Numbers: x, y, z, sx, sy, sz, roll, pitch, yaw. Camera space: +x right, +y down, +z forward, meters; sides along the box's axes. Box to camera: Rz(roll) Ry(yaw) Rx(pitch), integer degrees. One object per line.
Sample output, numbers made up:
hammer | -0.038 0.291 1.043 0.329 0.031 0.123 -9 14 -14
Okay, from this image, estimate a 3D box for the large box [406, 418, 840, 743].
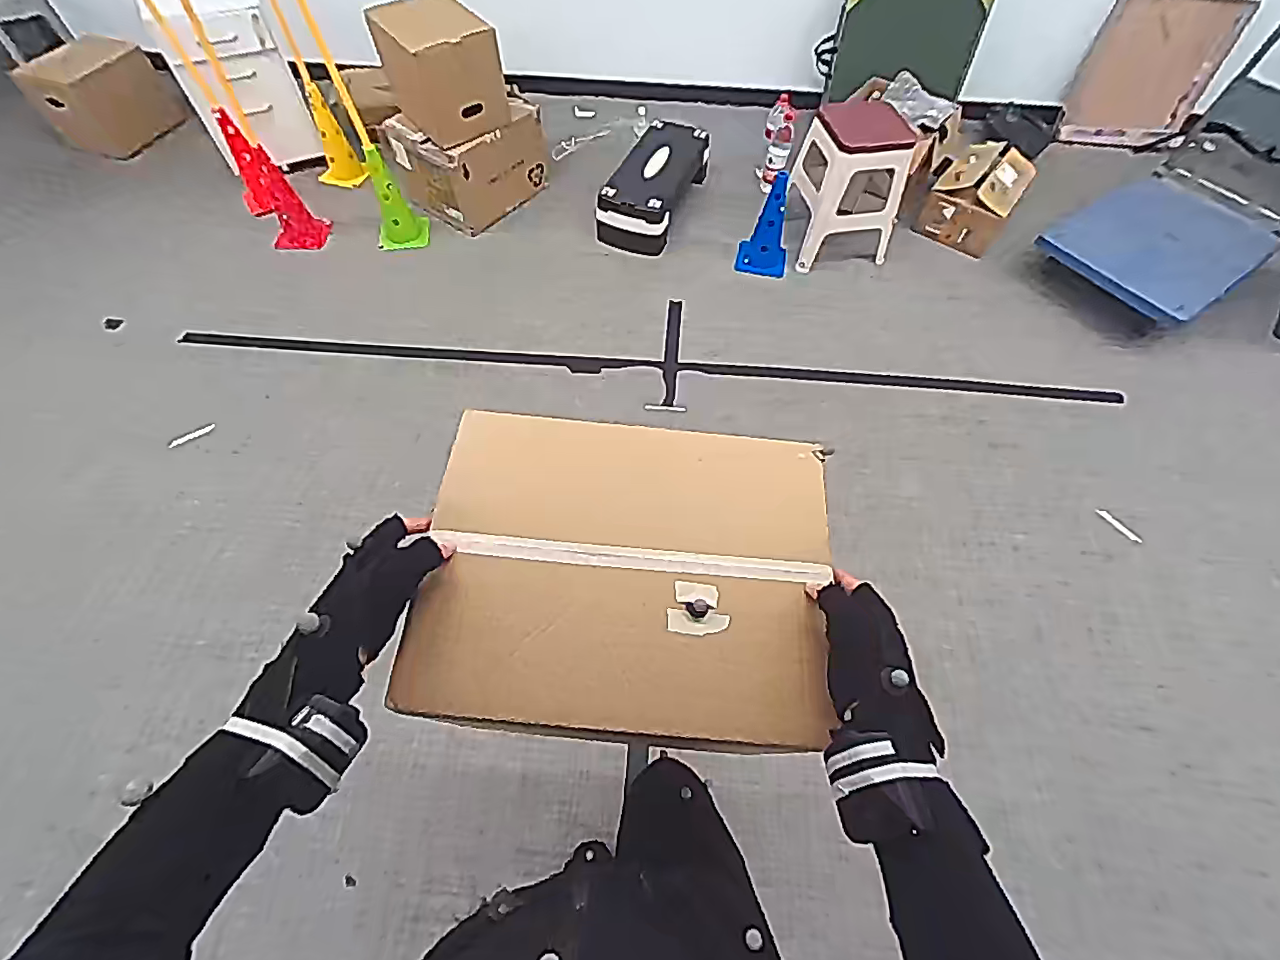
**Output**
large box | -0.016 0.147 0.686 0.408 0.320 0.320 6 63 -1
